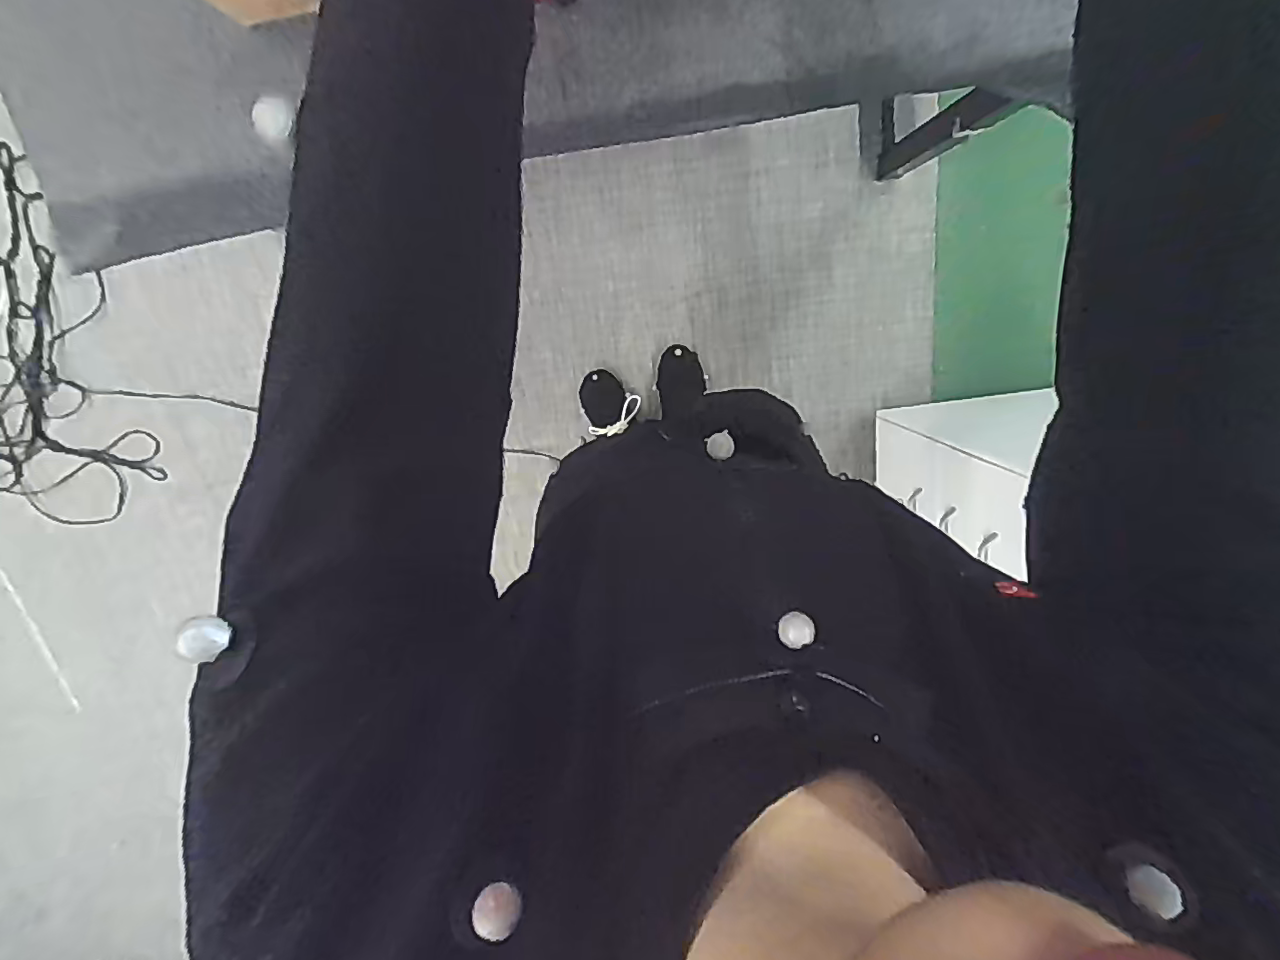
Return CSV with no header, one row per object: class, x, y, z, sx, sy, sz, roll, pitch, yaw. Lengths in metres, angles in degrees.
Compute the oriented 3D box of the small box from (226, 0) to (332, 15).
small box,-0.311,-0.499,0.396,0.168,0.176,0.179,-9,106,2
